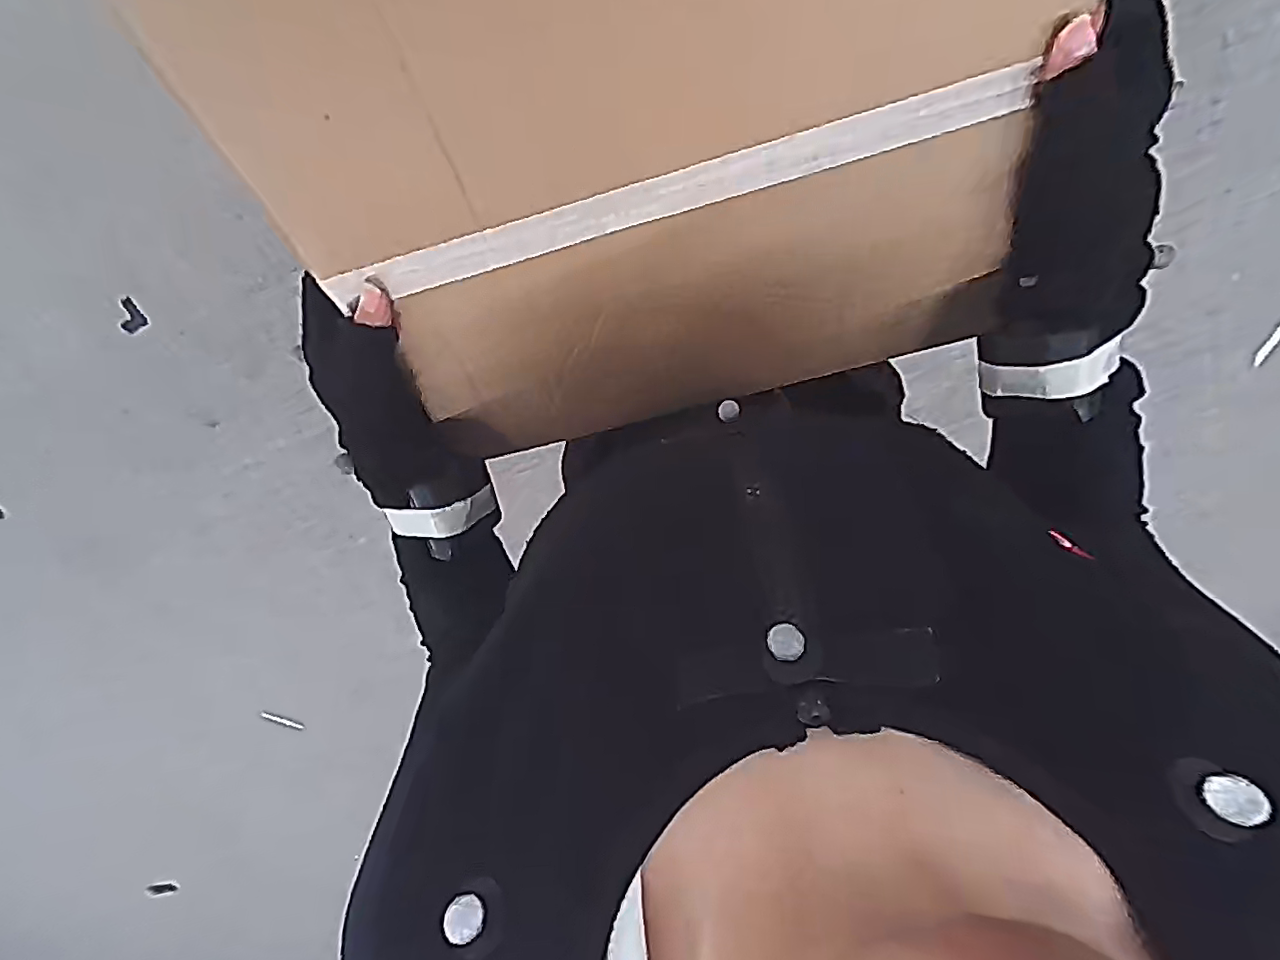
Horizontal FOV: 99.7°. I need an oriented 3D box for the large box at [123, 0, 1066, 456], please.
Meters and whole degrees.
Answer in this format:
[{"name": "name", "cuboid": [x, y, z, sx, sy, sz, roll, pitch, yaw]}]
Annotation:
[{"name": "large box", "cuboid": [0.001, -0.271, 0.397, 0.408, 0.320, 0.320, -14, 139, 7]}]
